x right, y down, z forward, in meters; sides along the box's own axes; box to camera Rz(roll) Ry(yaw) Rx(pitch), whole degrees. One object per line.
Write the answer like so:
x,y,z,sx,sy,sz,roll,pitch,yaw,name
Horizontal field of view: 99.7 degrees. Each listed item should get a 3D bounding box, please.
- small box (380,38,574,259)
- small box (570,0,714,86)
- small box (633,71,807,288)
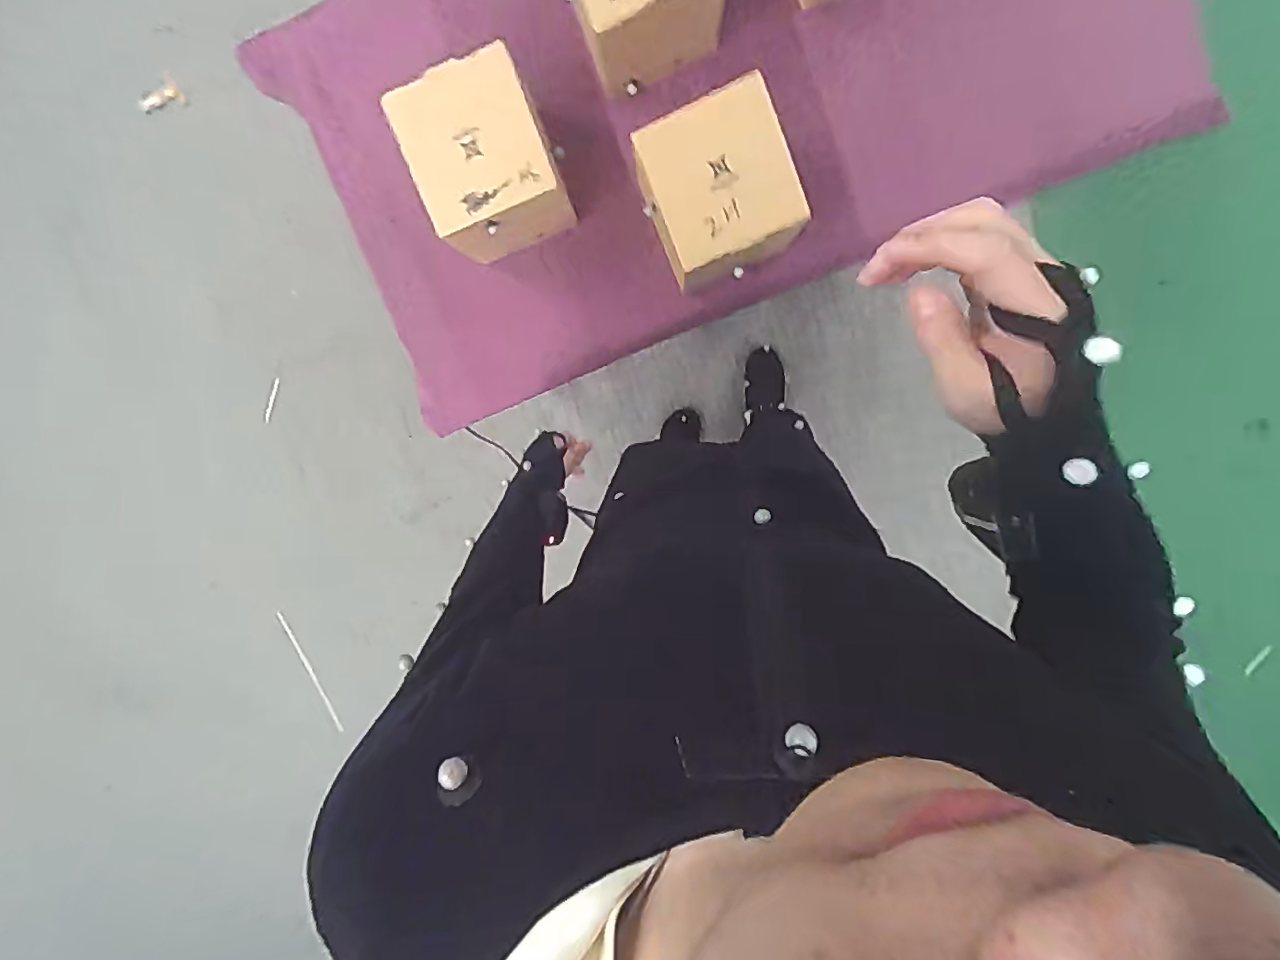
-0.205,-0.427,0.731,0.168,0.176,0.179,-19,99,8,small box
-0.008,-0.644,0.681,0.168,0.176,0.179,-21,99,6,small box
0.099,-0.383,0.726,0.168,0.176,0.179,-22,99,7,small box
